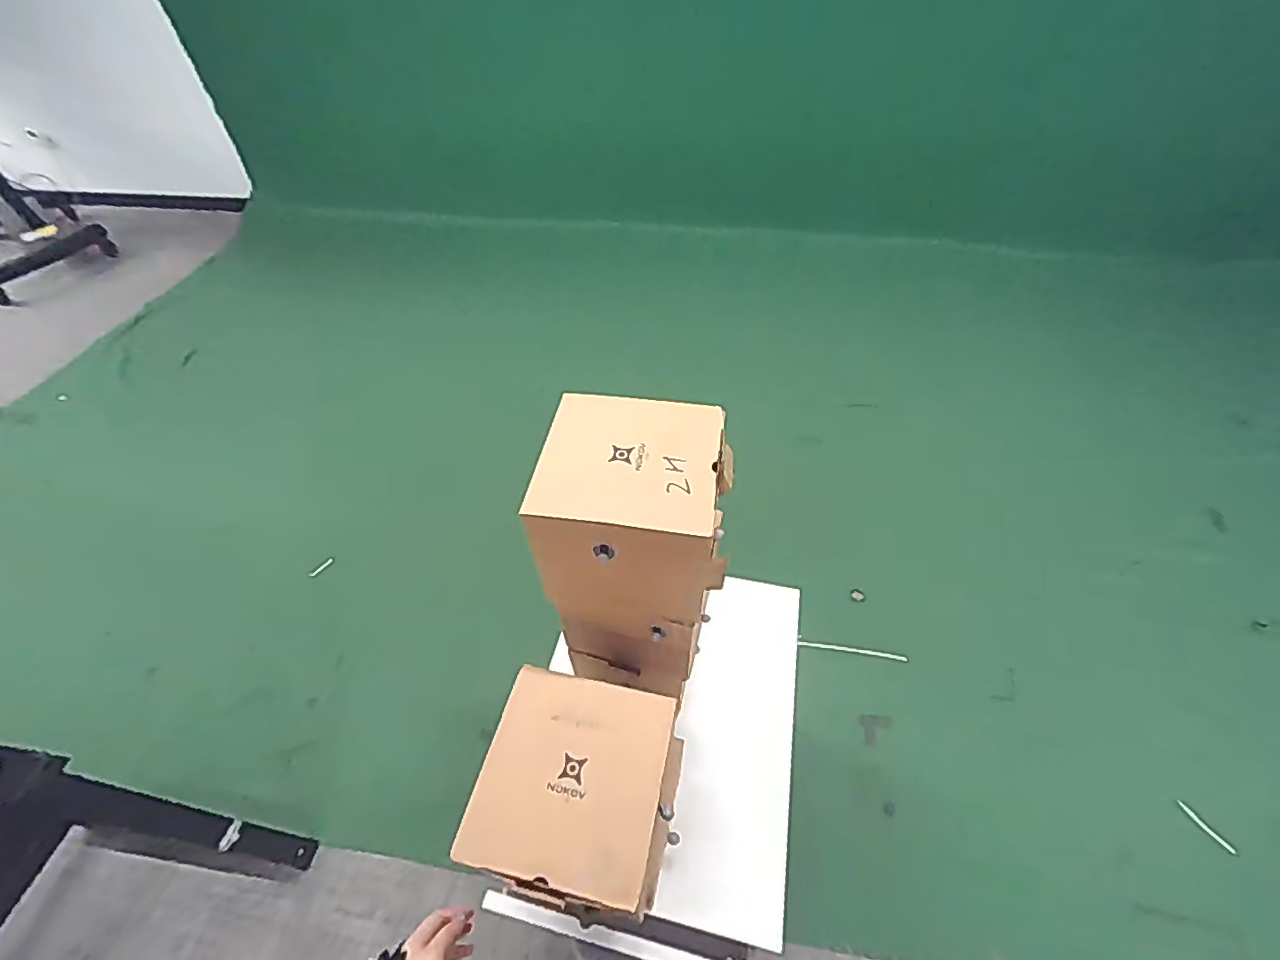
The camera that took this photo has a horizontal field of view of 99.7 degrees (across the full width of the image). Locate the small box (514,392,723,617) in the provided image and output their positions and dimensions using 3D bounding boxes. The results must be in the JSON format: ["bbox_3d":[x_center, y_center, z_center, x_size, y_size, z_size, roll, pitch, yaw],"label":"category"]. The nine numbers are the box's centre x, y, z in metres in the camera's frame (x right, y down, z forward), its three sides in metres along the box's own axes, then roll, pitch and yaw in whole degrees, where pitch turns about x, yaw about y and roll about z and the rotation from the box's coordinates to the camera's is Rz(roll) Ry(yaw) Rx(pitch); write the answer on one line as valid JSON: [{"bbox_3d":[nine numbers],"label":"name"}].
[{"bbox_3d":[-0.012,0.029,0.574,0.179,0.176,0.168,7,51,6],"label":"small box"}]

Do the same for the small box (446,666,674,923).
[{"bbox_3d":[-0.062,0.318,0.544,0.168,0.176,0.179,9,50,8],"label":"small box"}]

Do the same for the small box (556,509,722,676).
[{"bbox_3d":[-0.002,0.132,0.702,0.179,0.176,0.168,12,51,11],"label":"small box"}]

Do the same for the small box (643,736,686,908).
[{"bbox_3d":[-0.048,0.410,0.676,0.179,0.176,0.168,12,50,10],"label":"small box"}]
